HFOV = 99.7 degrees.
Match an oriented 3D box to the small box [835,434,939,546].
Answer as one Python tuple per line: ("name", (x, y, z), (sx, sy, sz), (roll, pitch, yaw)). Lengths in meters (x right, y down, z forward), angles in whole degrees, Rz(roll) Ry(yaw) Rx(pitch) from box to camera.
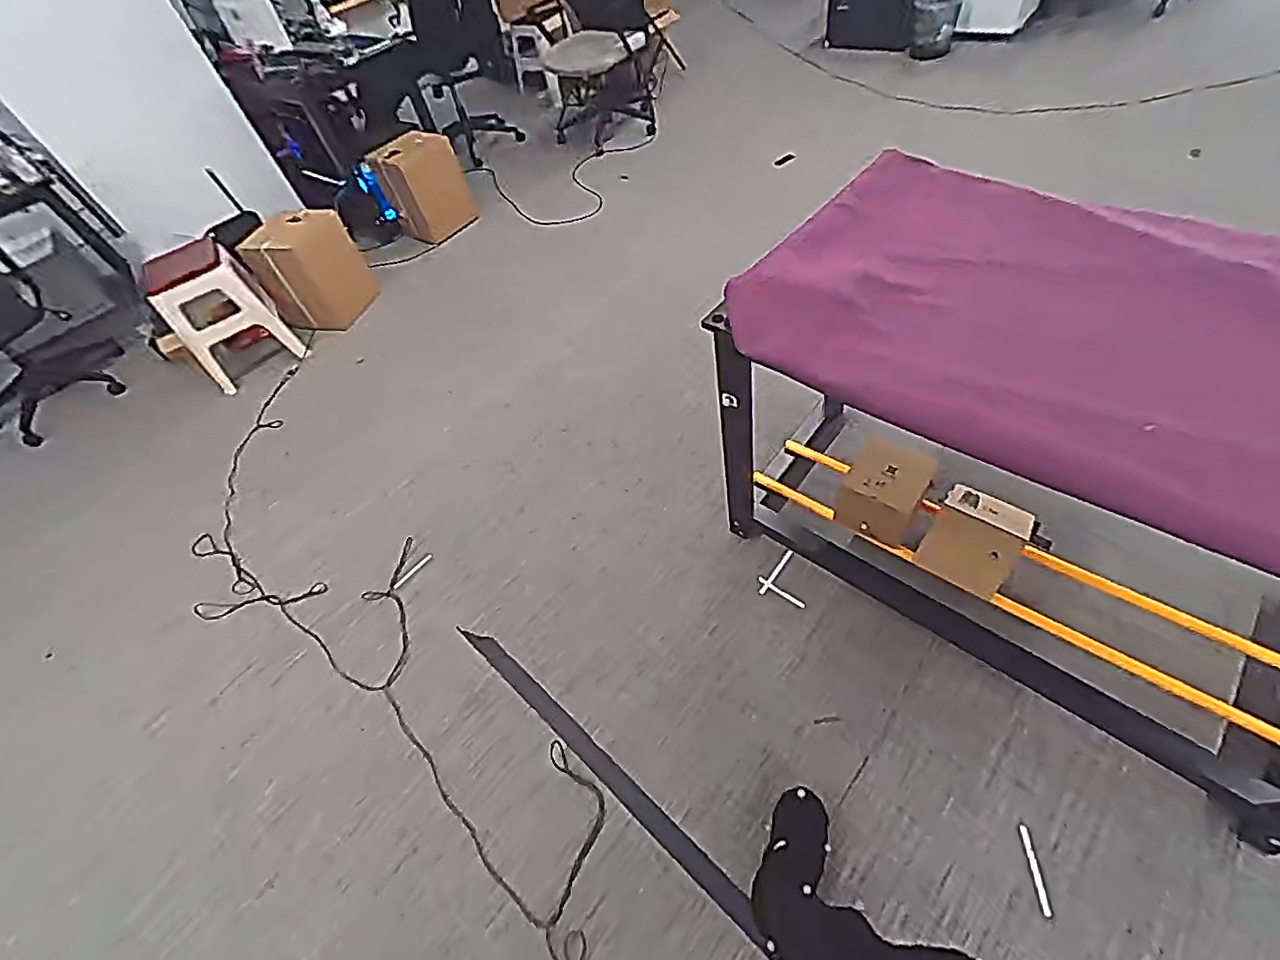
("small box", (0.591, 0.026, 1.317), (0.168, 0.176, 0.179), (28, 65, 29))
